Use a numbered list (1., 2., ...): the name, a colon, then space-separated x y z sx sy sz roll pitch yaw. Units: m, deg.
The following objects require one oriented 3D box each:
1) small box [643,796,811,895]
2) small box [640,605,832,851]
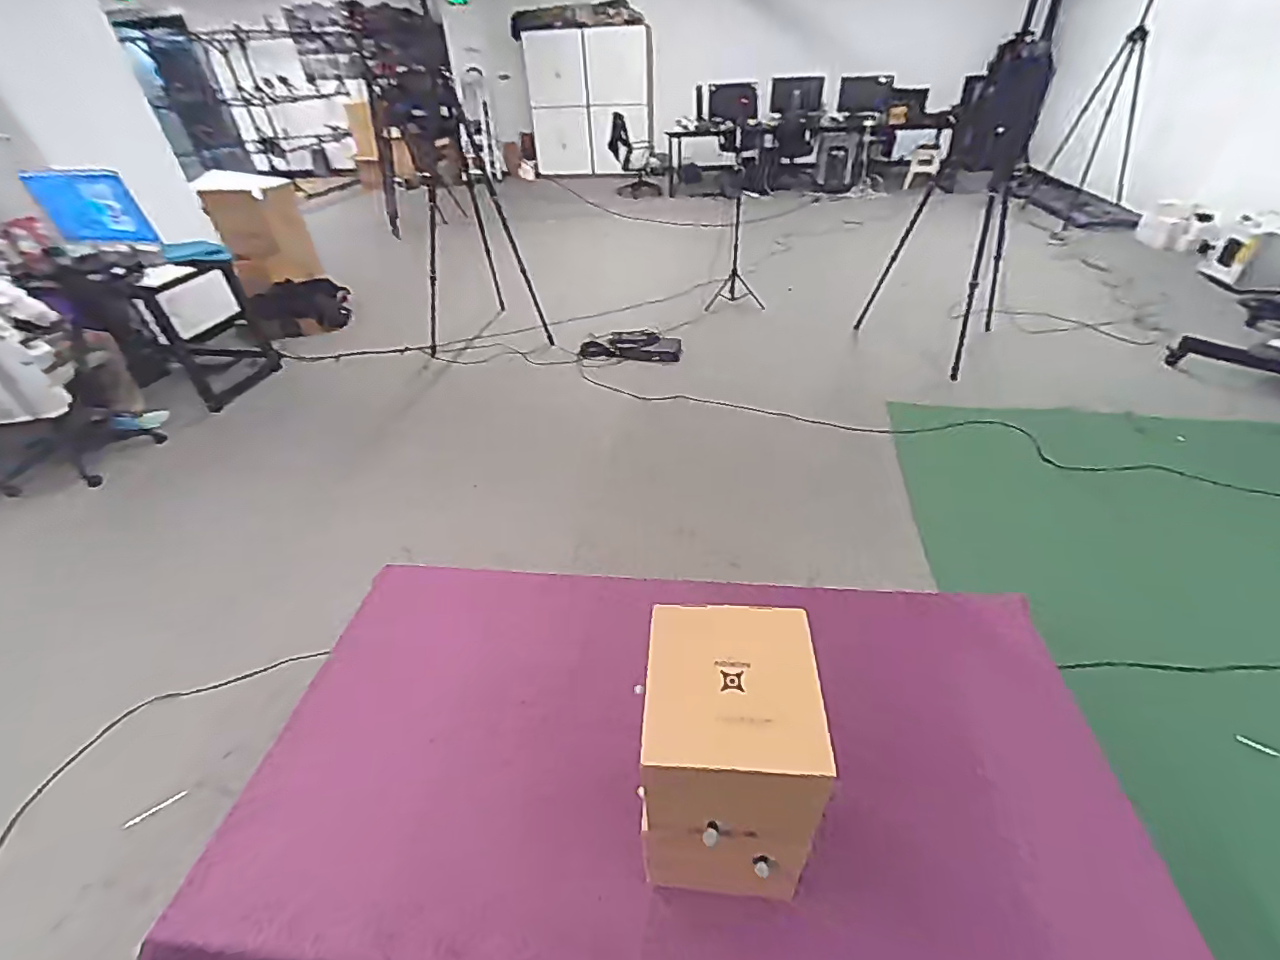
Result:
1. small box: 0.101 0.387 0.671 0.179 0.176 0.168 1 38 7
2. small box: 0.092 0.257 0.573 0.168 0.176 0.179 0 39 6
